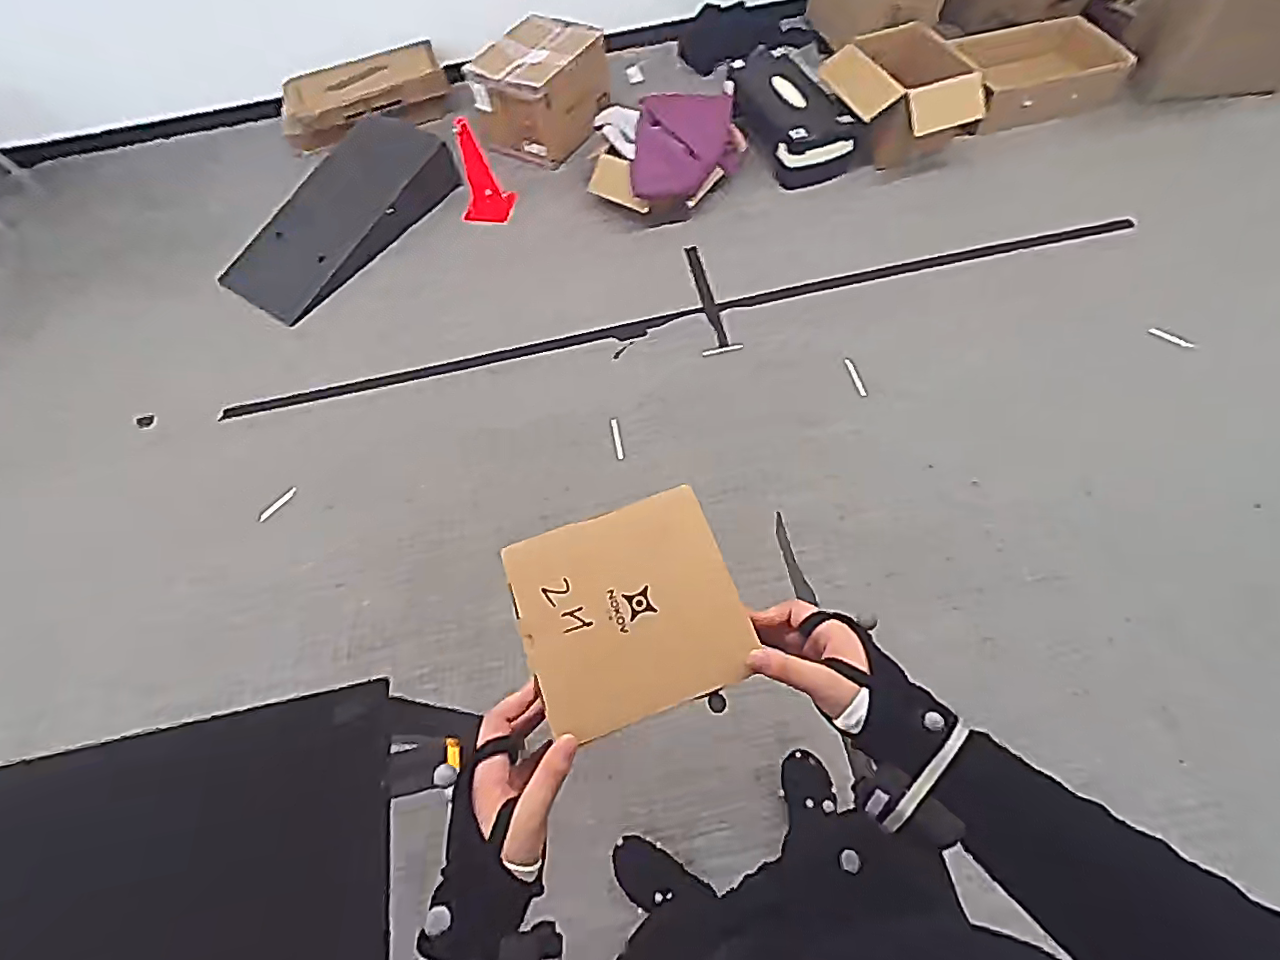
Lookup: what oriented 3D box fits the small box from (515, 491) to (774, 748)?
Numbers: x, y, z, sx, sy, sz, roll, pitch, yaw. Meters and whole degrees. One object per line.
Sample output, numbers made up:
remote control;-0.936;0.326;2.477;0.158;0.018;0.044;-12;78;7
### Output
small box;0.000;0.134;0.516;0.179;0.176;0.168;-18;68;-6
